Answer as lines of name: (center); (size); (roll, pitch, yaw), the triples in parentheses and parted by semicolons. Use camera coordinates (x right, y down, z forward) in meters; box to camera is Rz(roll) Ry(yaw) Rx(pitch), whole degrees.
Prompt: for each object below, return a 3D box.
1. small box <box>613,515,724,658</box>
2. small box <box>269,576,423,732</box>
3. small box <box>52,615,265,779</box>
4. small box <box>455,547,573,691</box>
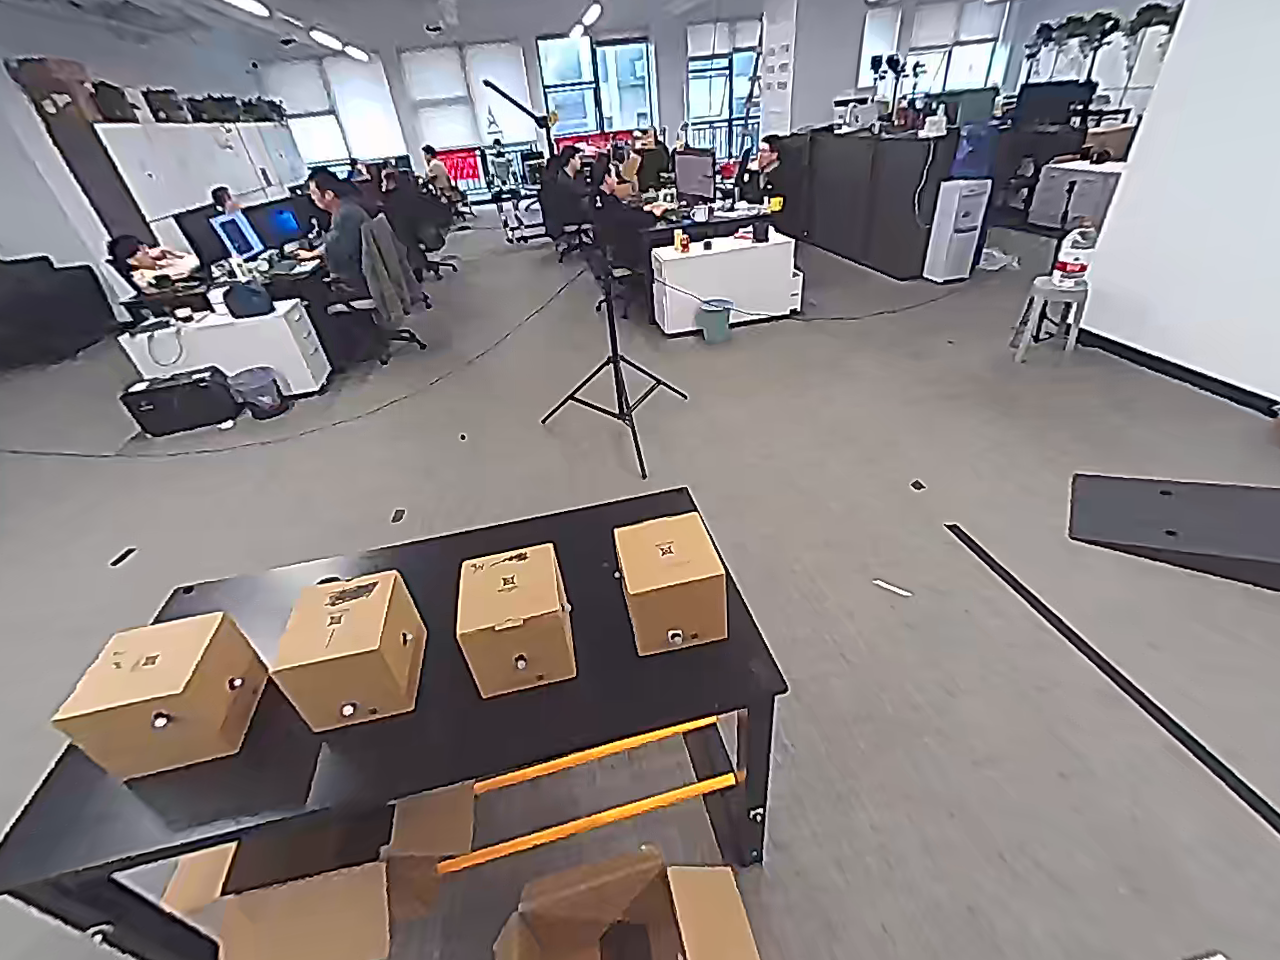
small box: (0.051, 0.194, 1.000); (0.168, 0.176, 0.179); (-12, 35, -6)
small box: (-0.489, 0.297, 0.934); (0.168, 0.176, 0.179); (-11, 35, -6)
small box: (-0.765, 0.355, 0.890); (0.179, 0.176, 0.168); (-11, 34, -8)
small box: (-0.218, 0.251, 0.961); (0.168, 0.176, 0.179); (-11, 35, -7)
